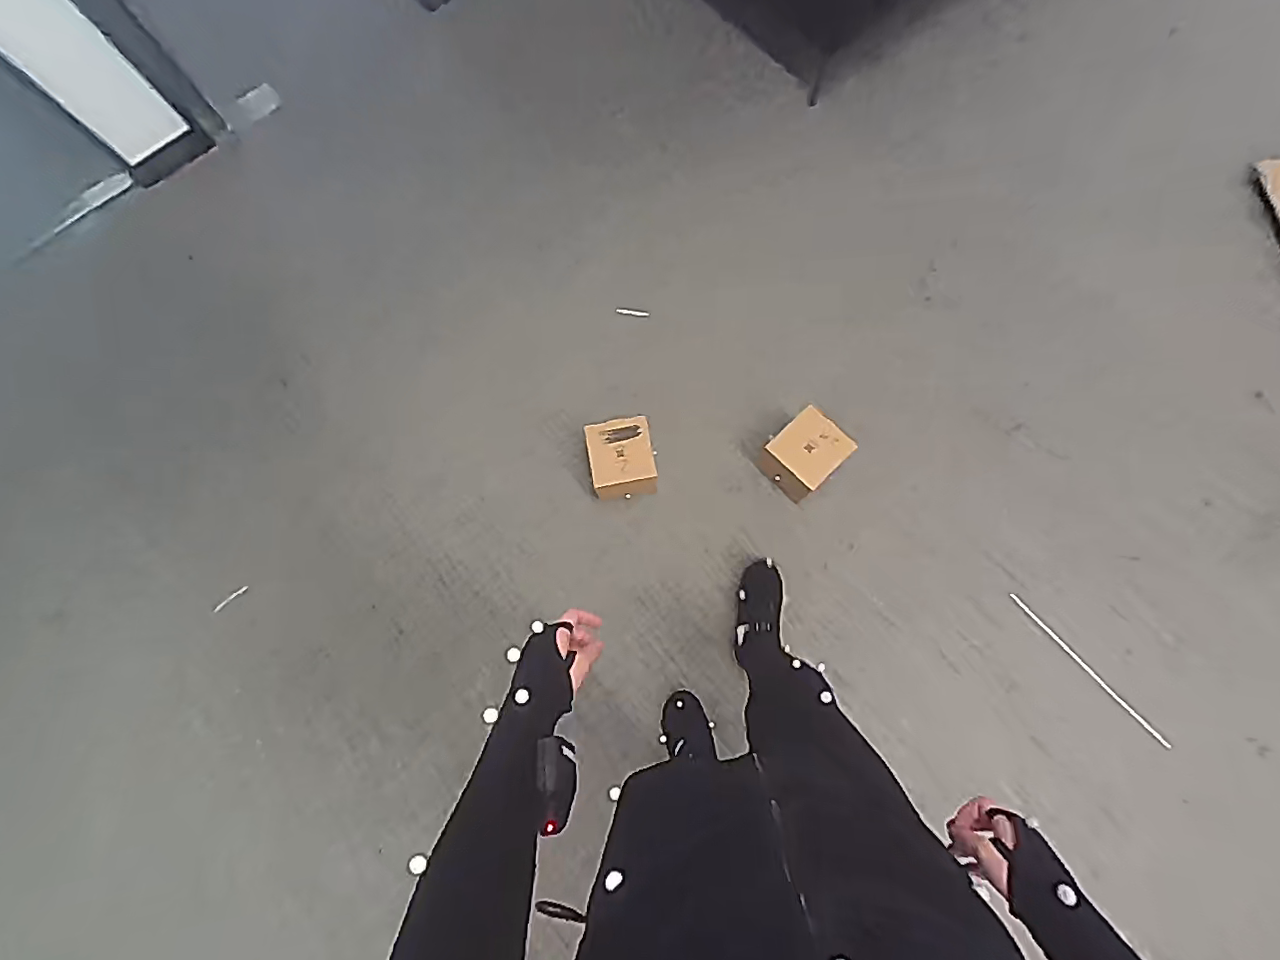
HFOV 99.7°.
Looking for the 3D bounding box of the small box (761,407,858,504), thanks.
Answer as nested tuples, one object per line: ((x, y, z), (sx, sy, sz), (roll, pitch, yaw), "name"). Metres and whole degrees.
((0.447, -0.059, 1.461), (0.179, 0.176, 0.168), (-43, 78, -8), "small box")
